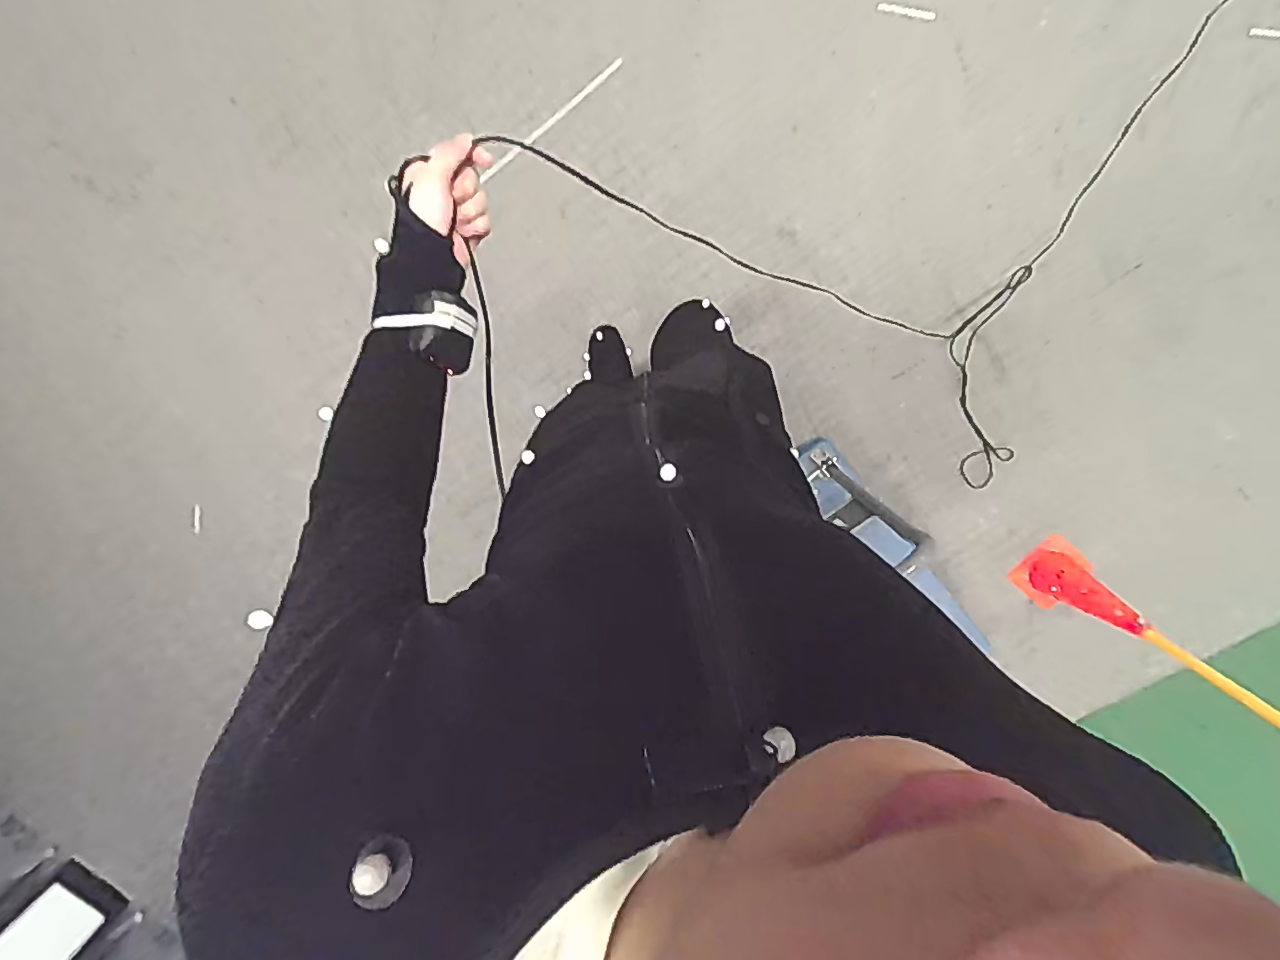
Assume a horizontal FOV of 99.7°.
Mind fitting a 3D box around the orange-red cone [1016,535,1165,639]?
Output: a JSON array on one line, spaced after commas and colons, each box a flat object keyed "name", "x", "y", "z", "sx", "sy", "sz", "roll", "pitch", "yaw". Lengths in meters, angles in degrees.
[{"name": "orange-red cone", "x": 1.322, "y": 0.338, "z": 1.549, "sx": 0.198, "sy": 0.360, "sz": 0.199, "roll": 39, "pitch": 102, "yaw": -12}]
